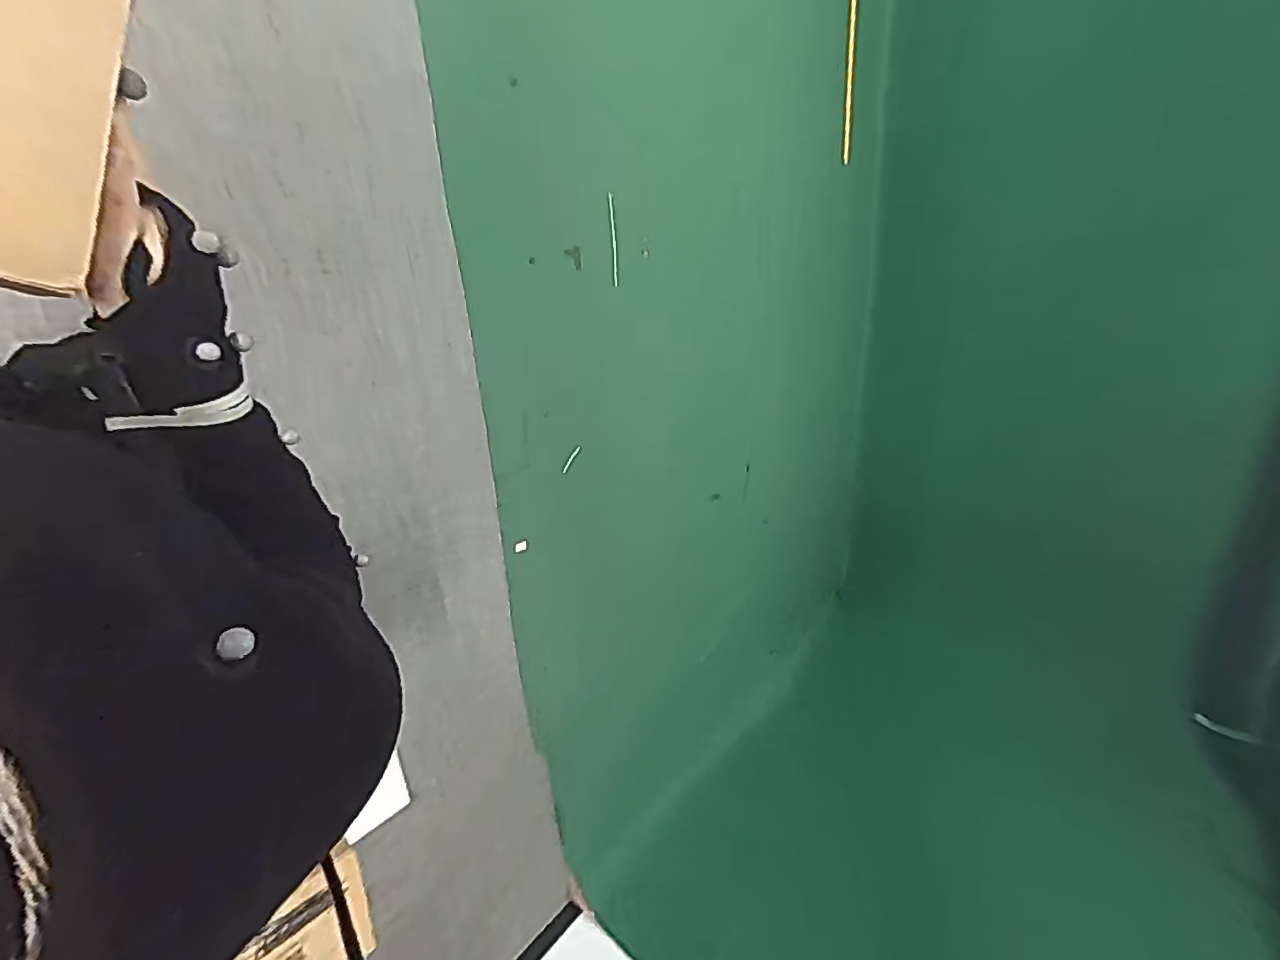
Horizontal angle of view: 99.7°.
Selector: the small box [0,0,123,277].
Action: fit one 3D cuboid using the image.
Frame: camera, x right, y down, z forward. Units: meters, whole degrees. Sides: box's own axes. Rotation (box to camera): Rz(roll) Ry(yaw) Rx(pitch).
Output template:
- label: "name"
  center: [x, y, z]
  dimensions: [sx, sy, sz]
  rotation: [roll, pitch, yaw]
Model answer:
- label: "small box"
  center: [-0.386, -0.213, 0.257]
  dimensions: [0.168, 0.176, 0.179]
  rotation: [8, 95, -55]
